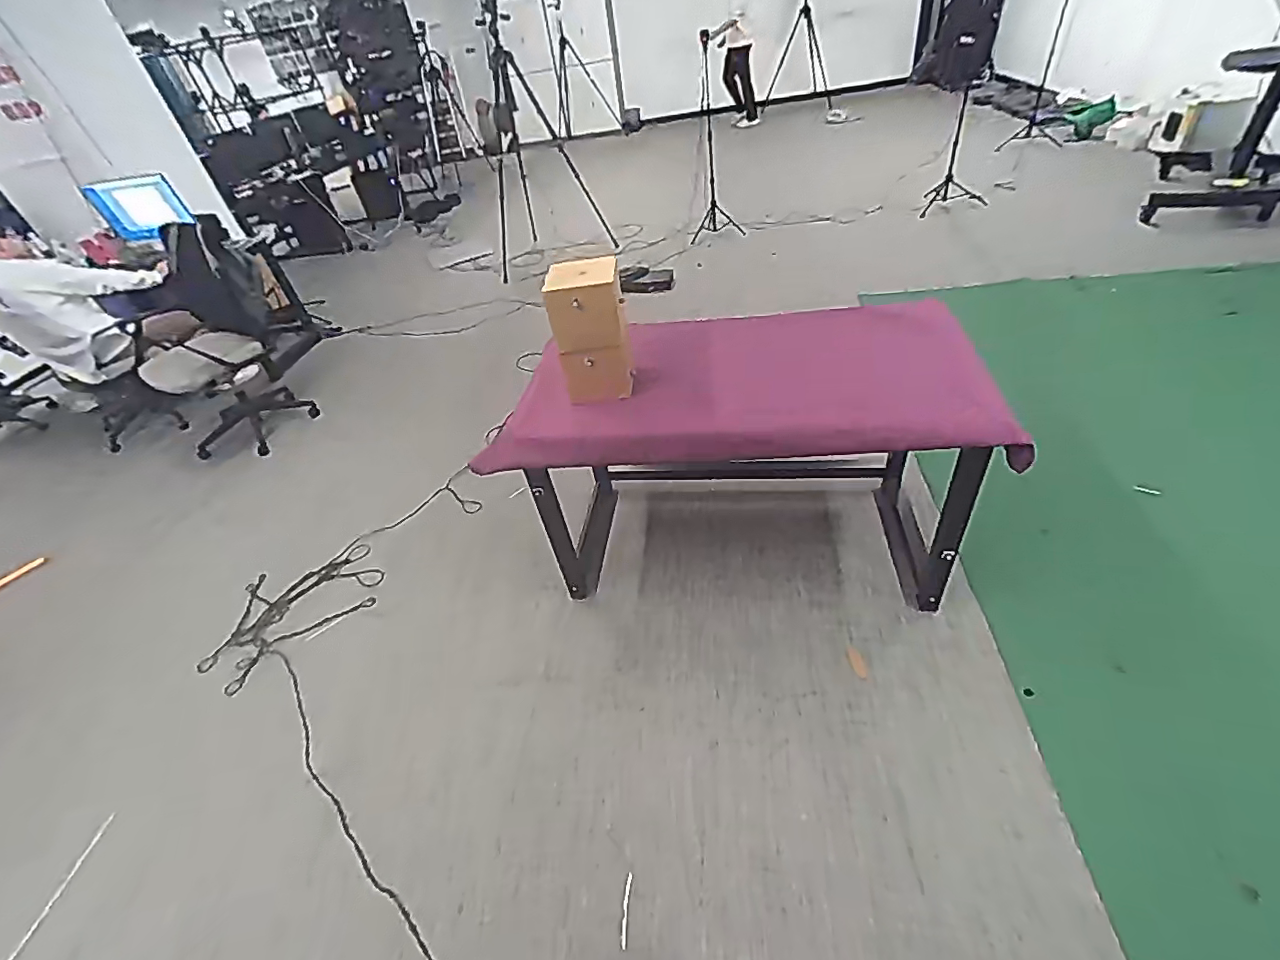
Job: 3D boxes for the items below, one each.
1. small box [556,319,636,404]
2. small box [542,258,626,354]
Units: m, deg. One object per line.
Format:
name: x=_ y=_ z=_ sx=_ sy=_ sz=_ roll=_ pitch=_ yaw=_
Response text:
small box: x=-0.114 y=-0.322 z=1.485 sx=0.179 sy=0.176 sz=0.168 roll=-4 pitch=42 yaw=8
small box: x=-0.133 y=-0.439 z=1.375 sx=0.179 sy=0.176 sz=0.168 roll=-6 pitch=42 yaw=7
